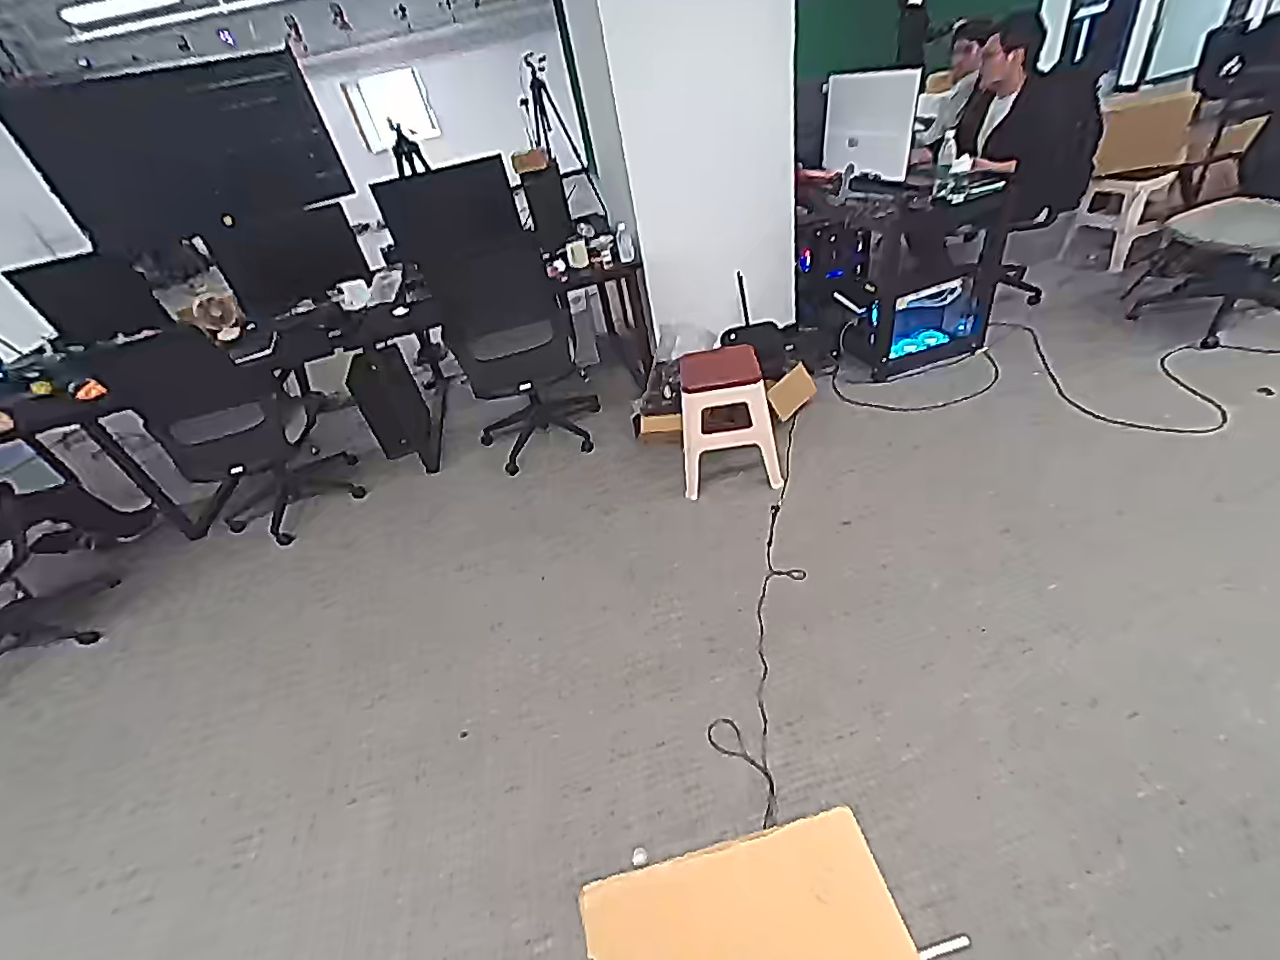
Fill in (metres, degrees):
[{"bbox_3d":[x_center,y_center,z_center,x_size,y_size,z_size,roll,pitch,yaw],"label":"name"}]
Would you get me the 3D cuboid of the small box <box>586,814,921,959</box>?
[{"bbox_3d":[0.072,0.335,0.332,0.179,0.176,0.168,-12,48,-9],"label":"small box"}]
